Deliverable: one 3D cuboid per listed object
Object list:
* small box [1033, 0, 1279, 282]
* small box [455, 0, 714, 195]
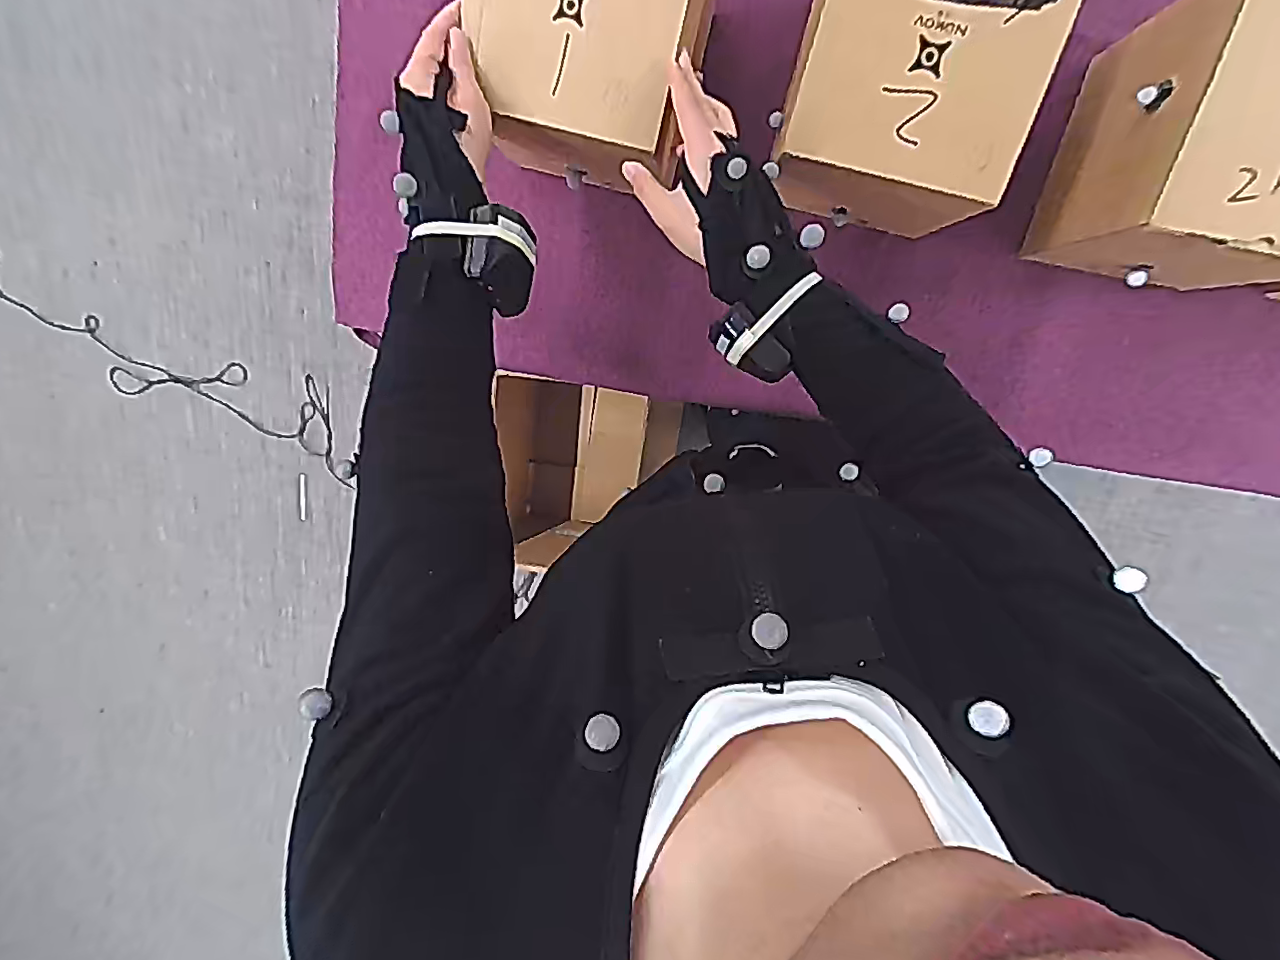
[{"bbox_3d":[0.469,-0.272,0.437,0.168,0.176,0.179,13,107,3],"label":"small box"},{"bbox_3d":[-0.034,-0.372,0.461,0.168,0.176,0.179,15,107,2],"label":"small box"}]
